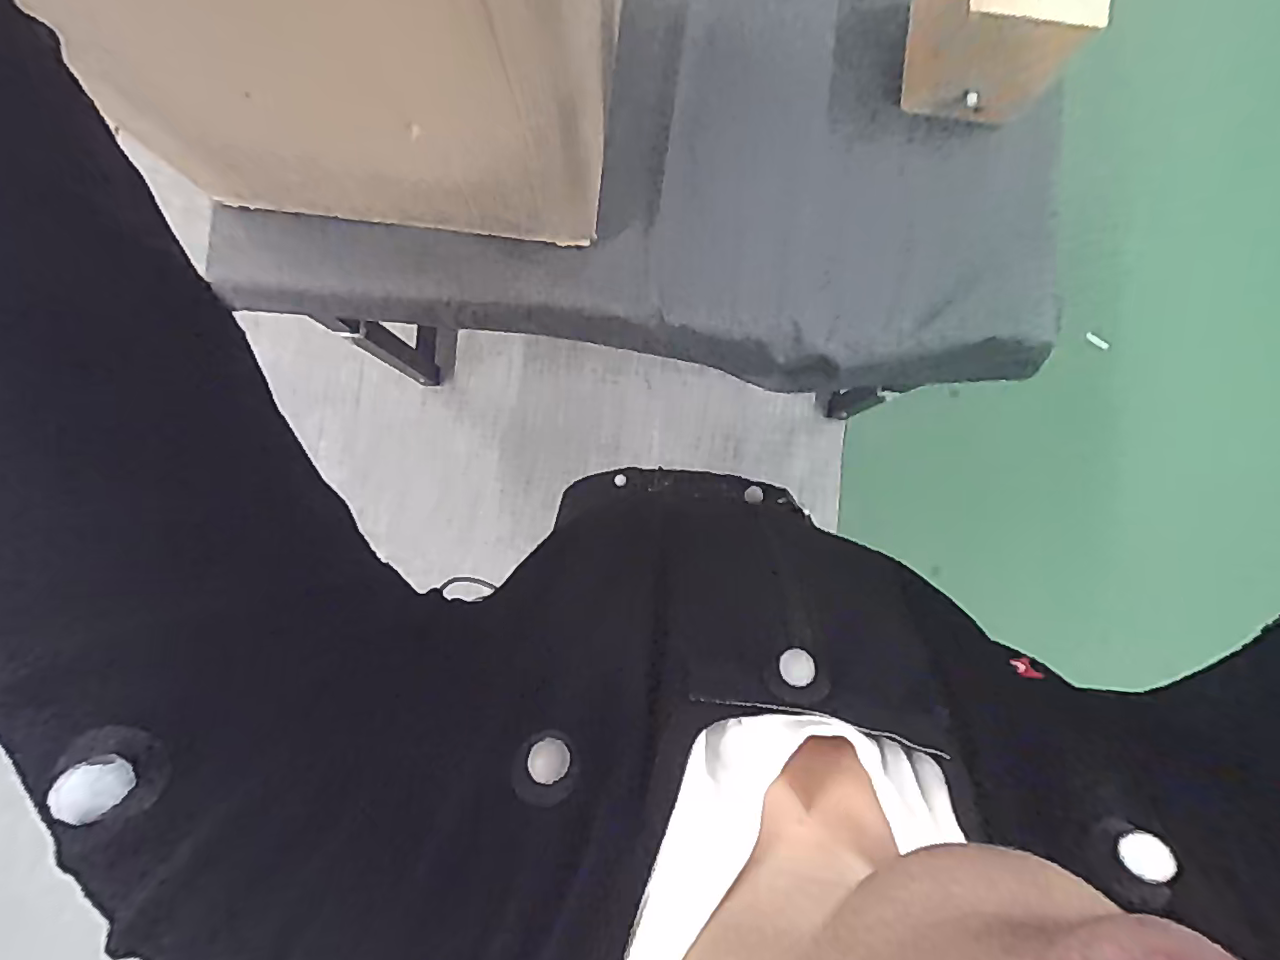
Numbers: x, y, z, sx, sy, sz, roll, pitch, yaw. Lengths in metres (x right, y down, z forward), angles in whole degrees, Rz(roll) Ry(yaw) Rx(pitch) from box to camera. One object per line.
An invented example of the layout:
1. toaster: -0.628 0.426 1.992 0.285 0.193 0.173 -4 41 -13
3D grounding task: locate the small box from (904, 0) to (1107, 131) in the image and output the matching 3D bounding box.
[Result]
1. small box: 0.479 -0.619 0.727 0.168 0.176 0.179 8 87 0
